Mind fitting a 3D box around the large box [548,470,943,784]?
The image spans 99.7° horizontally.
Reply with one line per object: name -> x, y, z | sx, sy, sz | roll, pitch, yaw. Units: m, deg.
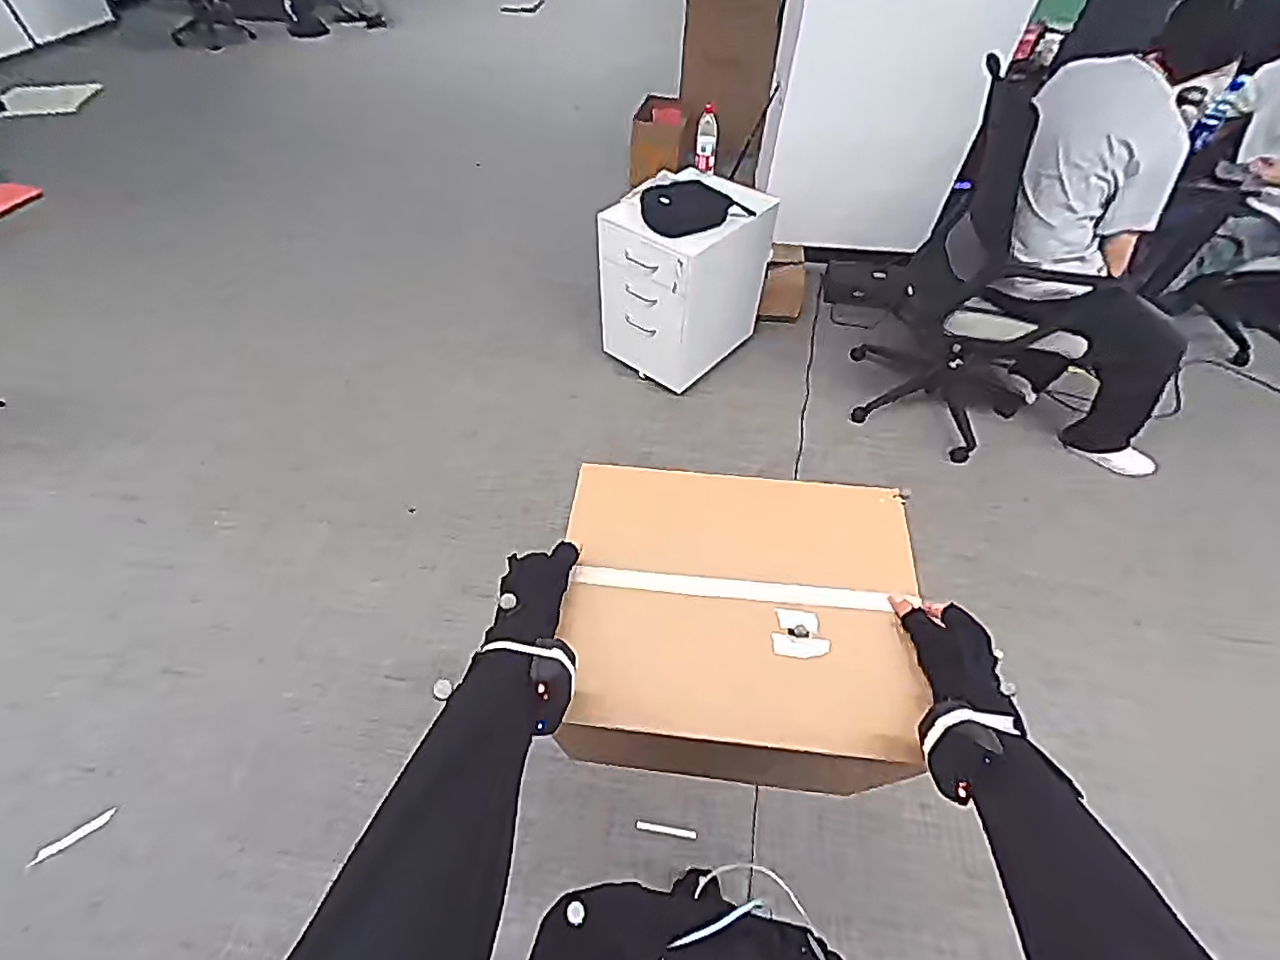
large box -> 0.116, 0.210, 0.744 | 0.408, 0.320, 0.320 | 5, 57, 4
